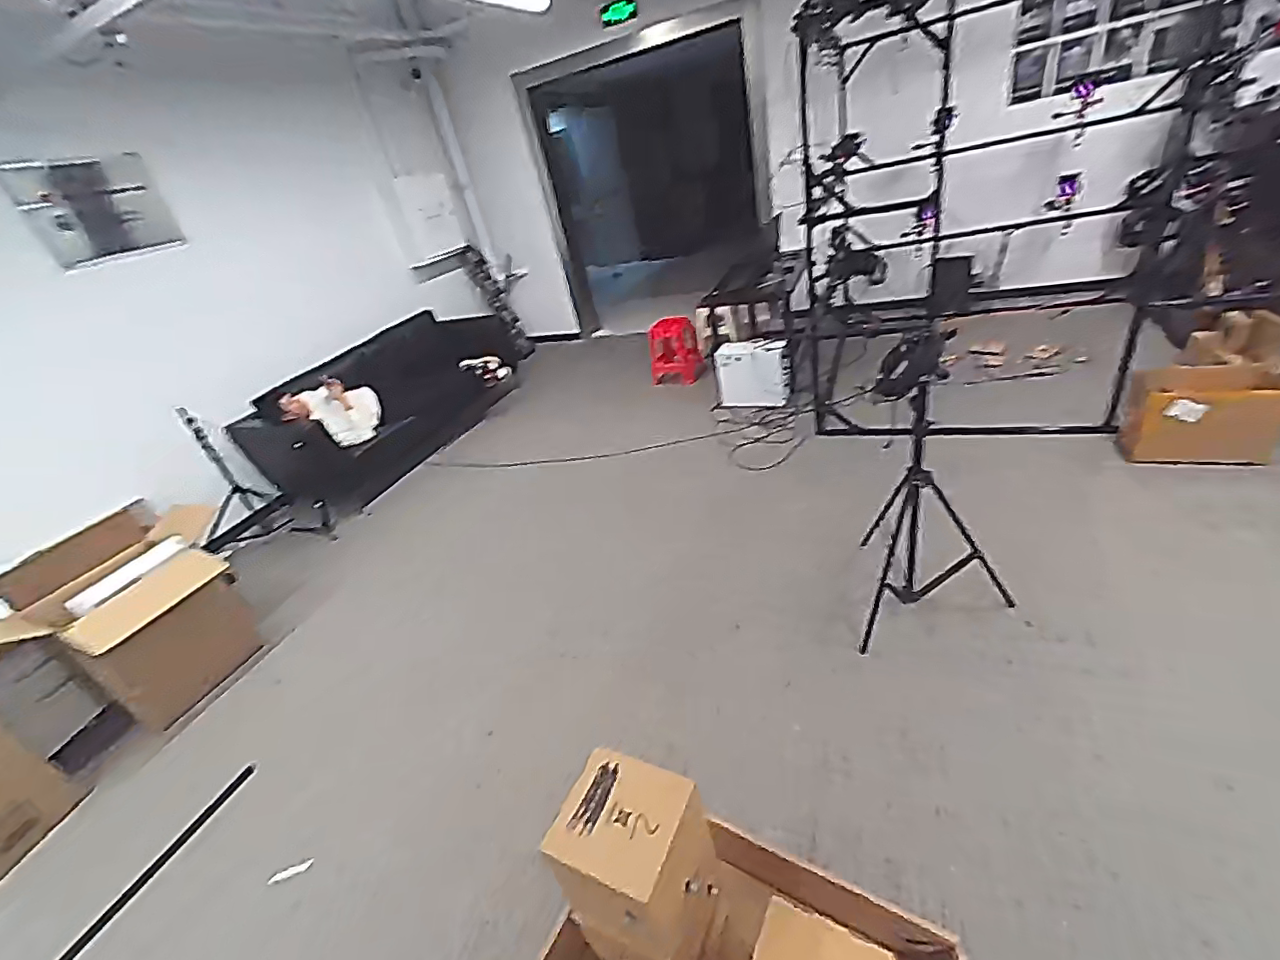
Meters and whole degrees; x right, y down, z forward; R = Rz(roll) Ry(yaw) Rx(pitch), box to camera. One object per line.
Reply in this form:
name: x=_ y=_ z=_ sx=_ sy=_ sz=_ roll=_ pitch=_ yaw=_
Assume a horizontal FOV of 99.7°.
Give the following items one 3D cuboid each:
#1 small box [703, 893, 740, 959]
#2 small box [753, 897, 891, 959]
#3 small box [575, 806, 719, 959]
small box: x=0.064 y=0.824 z=0.953 sx=0.179 sy=0.176 sz=0.168 roll=7 pitch=36 yaw=30
small box: x=0.236 y=0.726 z=0.723 sx=0.168 sy=0.176 sz=0.179 roll=7 pitch=35 yaw=31
small box: x=0.023 y=0.684 z=0.878 sx=0.168 sy=0.176 sz=0.179 roll=4 pitch=34 yaw=29
